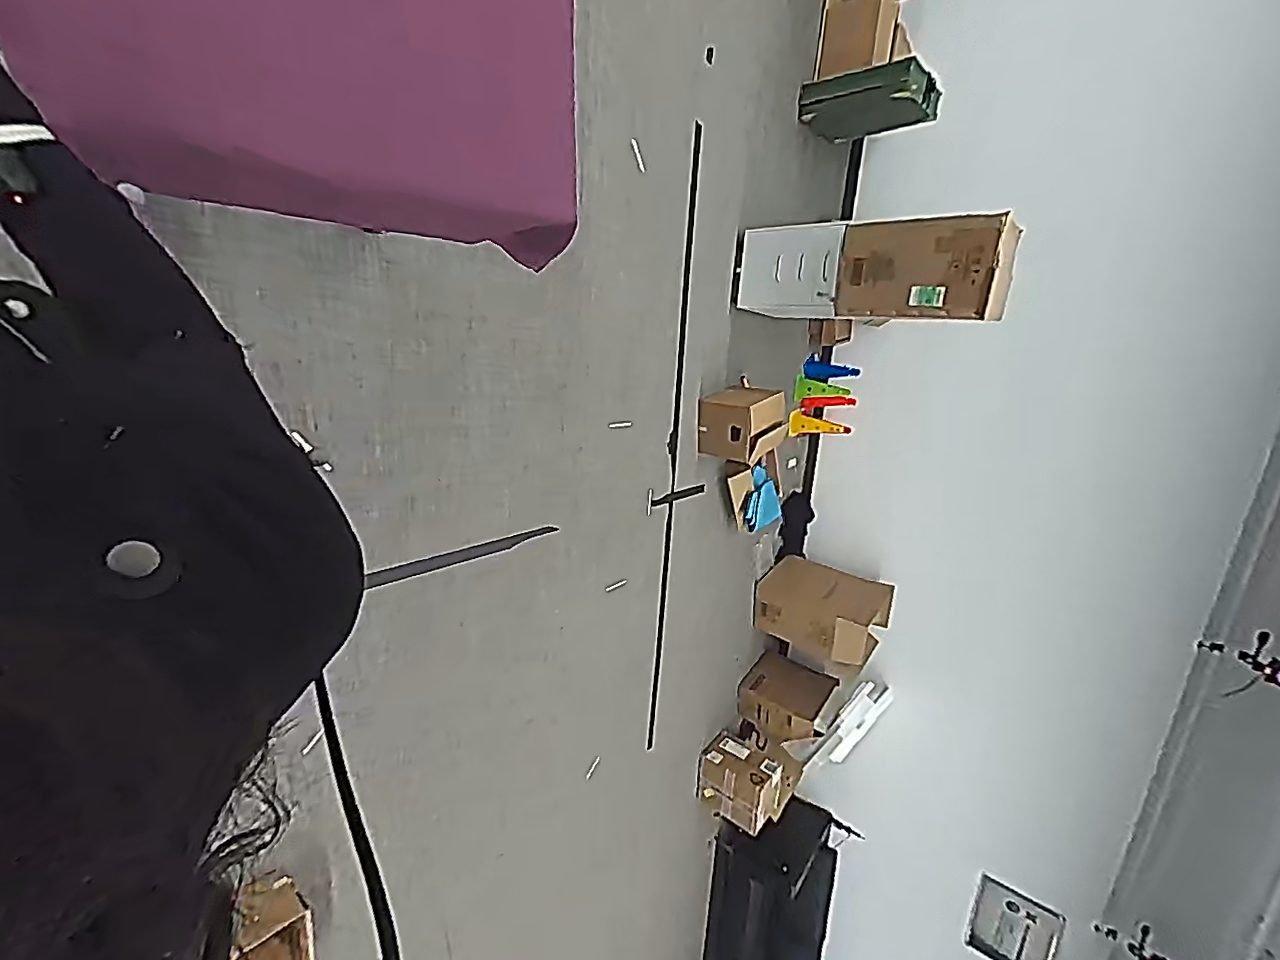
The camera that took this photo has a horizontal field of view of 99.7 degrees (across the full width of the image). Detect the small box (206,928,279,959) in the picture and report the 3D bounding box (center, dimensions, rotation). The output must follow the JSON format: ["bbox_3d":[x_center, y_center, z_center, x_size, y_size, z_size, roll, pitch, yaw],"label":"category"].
[{"bbox_3d":[-1.089,1.377,1.447,0.179,0.176,0.168,-7,107,-53],"label":"small box"}]
